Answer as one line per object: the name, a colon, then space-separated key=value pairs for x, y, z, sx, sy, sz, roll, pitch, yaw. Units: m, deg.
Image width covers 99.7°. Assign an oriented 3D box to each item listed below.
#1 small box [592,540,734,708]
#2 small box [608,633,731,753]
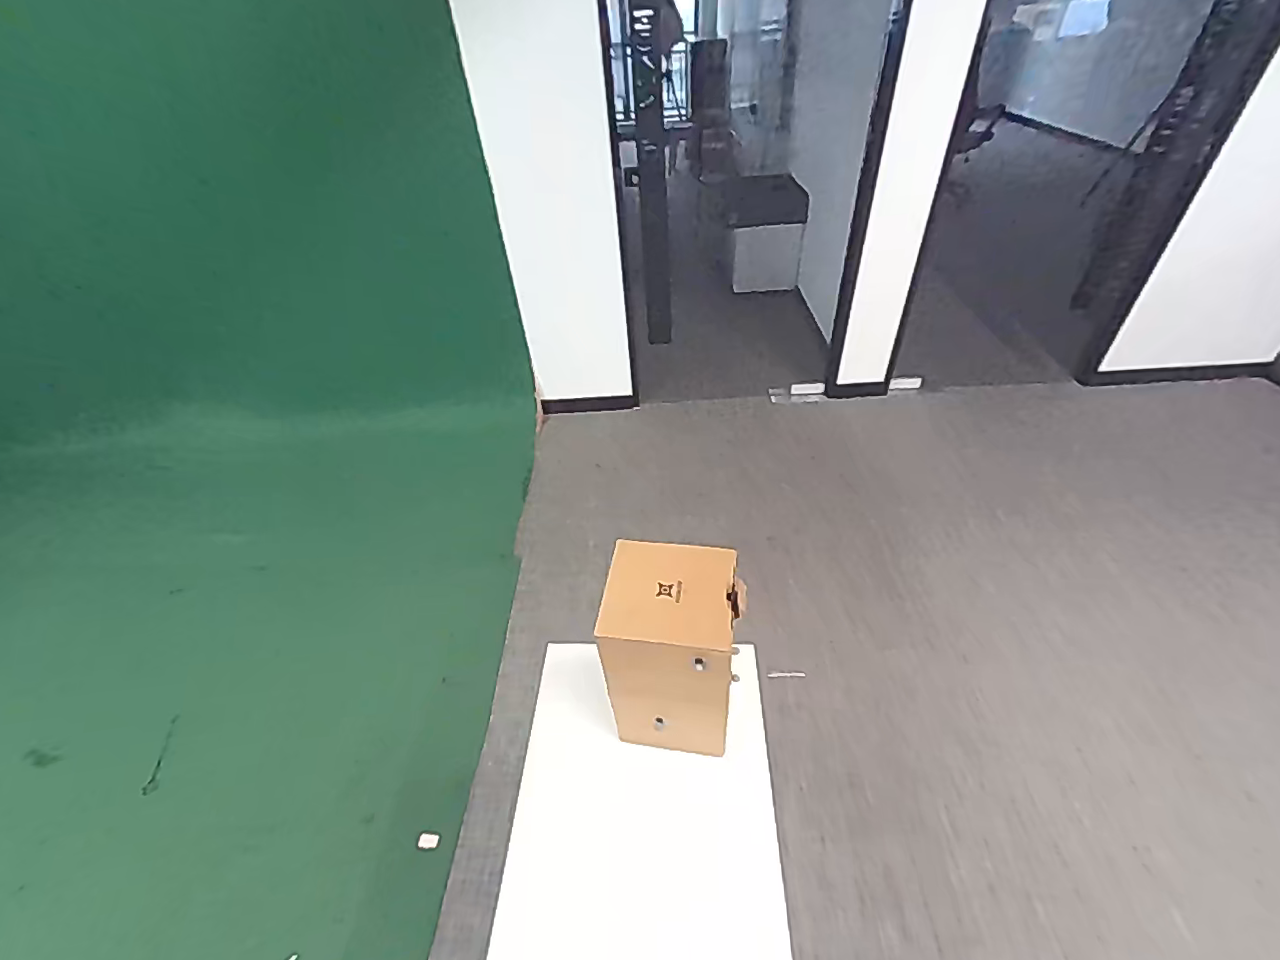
small box: x=0.042 y=0.208 z=0.781 sx=0.179 sy=0.176 sz=0.168 roll=4 pitch=42 yaw=9
small box: x=0.056 y=0.327 z=0.891 sx=0.179 sy=0.176 sz=0.168 roll=4 pitch=43 yaw=10
